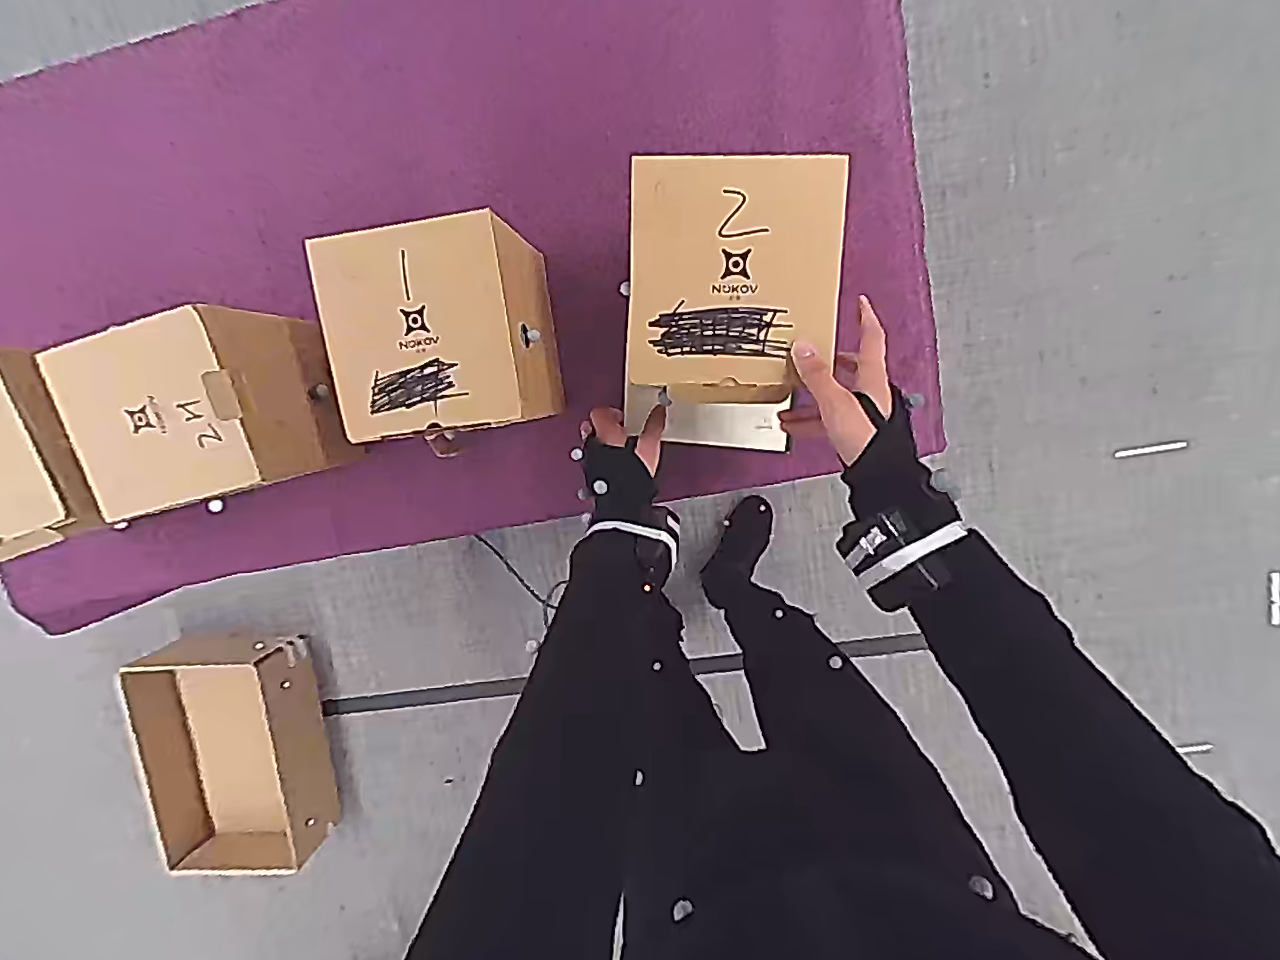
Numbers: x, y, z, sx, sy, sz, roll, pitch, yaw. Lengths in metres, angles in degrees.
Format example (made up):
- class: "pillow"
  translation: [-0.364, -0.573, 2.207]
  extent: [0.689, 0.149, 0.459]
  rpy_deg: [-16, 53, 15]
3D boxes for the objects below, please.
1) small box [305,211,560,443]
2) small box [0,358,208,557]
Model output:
- class: "small box"
  translation: [-0.186, -0.140, 0.540]
  extent: [0.168, 0.176, 0.179]
  rpy_deg: [-7, 98, 6]
- class: "small box"
  translation: [-0.642, -0.028, 0.600]
  extent: [0.168, 0.176, 0.179]
  rpy_deg: [-18, 98, 7]
